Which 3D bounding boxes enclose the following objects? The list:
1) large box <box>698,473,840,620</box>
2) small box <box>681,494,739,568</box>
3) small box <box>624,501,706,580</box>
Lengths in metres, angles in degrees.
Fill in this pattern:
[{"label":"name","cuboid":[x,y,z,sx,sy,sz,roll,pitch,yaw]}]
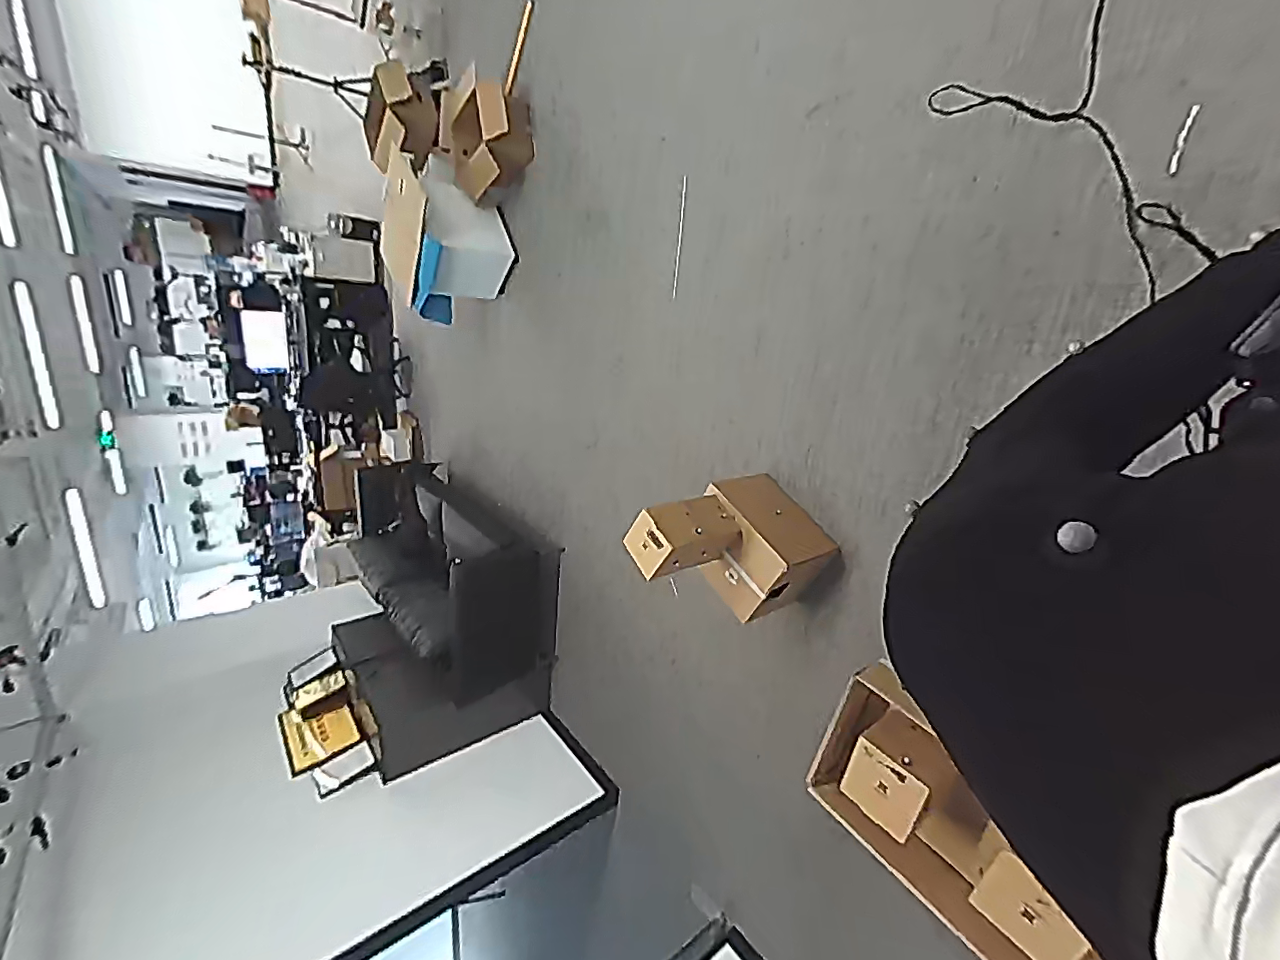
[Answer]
[{"label":"large box","cuboid":[0.427,0.225,1.968,0.408,0.320,0.320,49,132,32]},{"label":"small box","cuboid":[0.205,0.170,1.839,0.168,0.176,0.179,55,133,27]},{"label":"small box","cuboid":[0.085,0.188,1.729,0.168,0.176,0.179,55,134,27]}]
